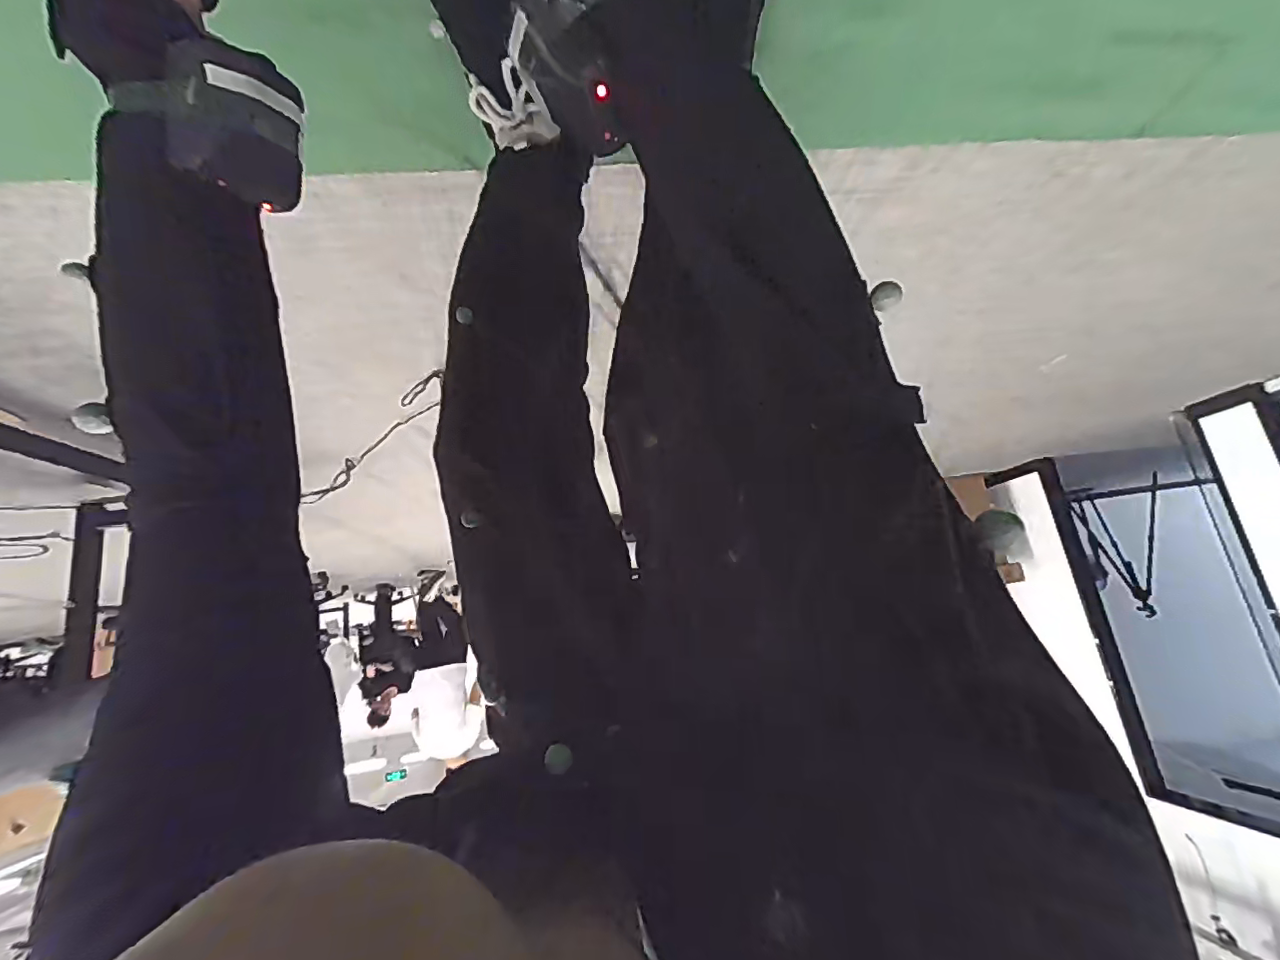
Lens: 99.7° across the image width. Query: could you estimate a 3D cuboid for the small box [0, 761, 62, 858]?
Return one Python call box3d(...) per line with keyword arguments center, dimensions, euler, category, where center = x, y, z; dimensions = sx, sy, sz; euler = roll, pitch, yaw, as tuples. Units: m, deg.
box3d(center=(-1.452, 0.745, 1.198), dimensions=(0.168, 0.176, 0.179), euler=(-8, 166, -9), category="small box")
